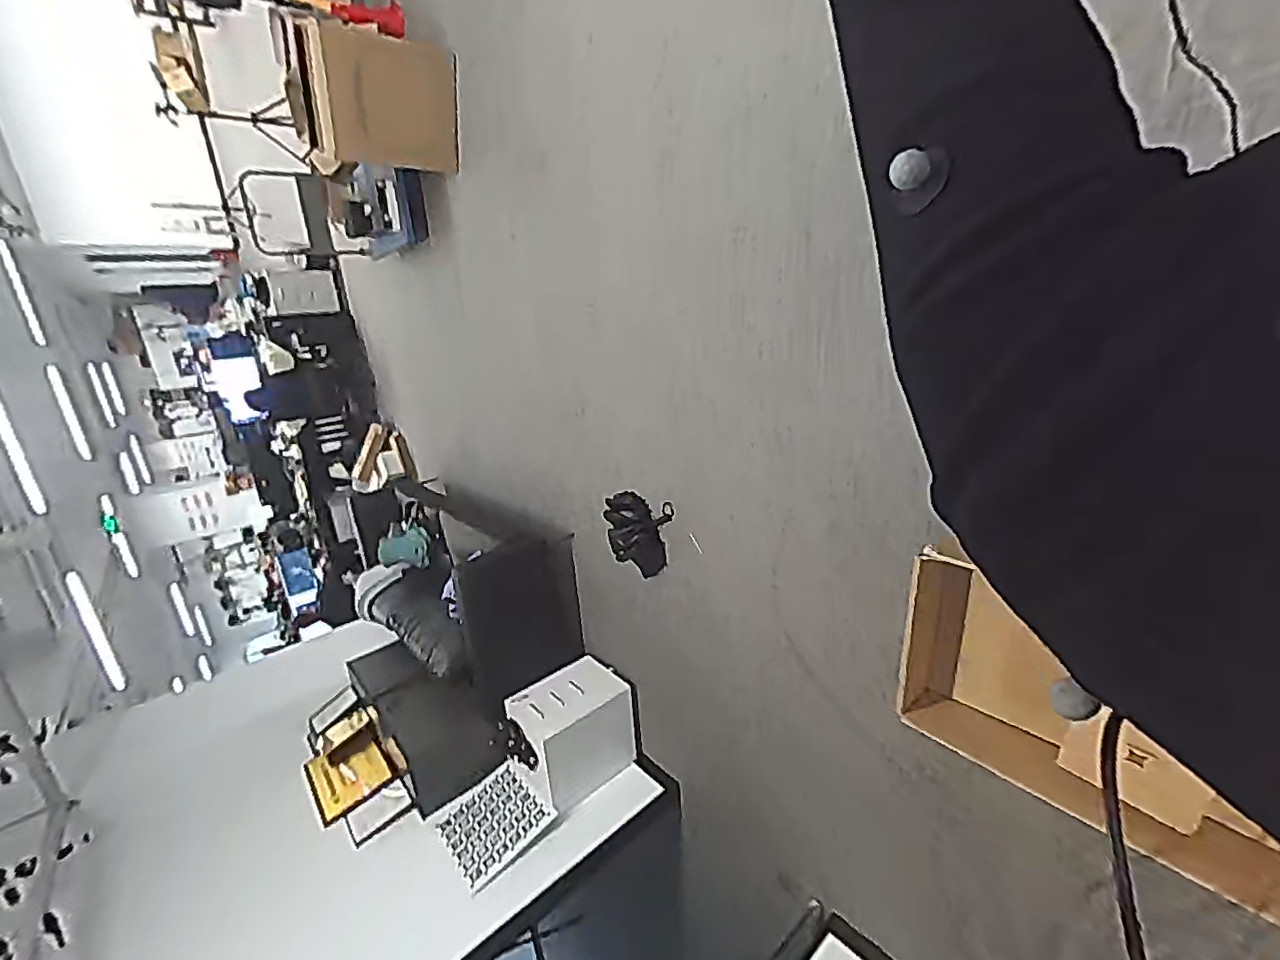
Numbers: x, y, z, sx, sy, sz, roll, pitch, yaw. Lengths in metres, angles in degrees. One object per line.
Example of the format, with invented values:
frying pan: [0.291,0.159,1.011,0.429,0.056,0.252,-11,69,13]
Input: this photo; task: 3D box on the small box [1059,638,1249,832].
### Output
small box: [0.793,0.378,0.837,0.168,0.176,0.179,23,125,48]
